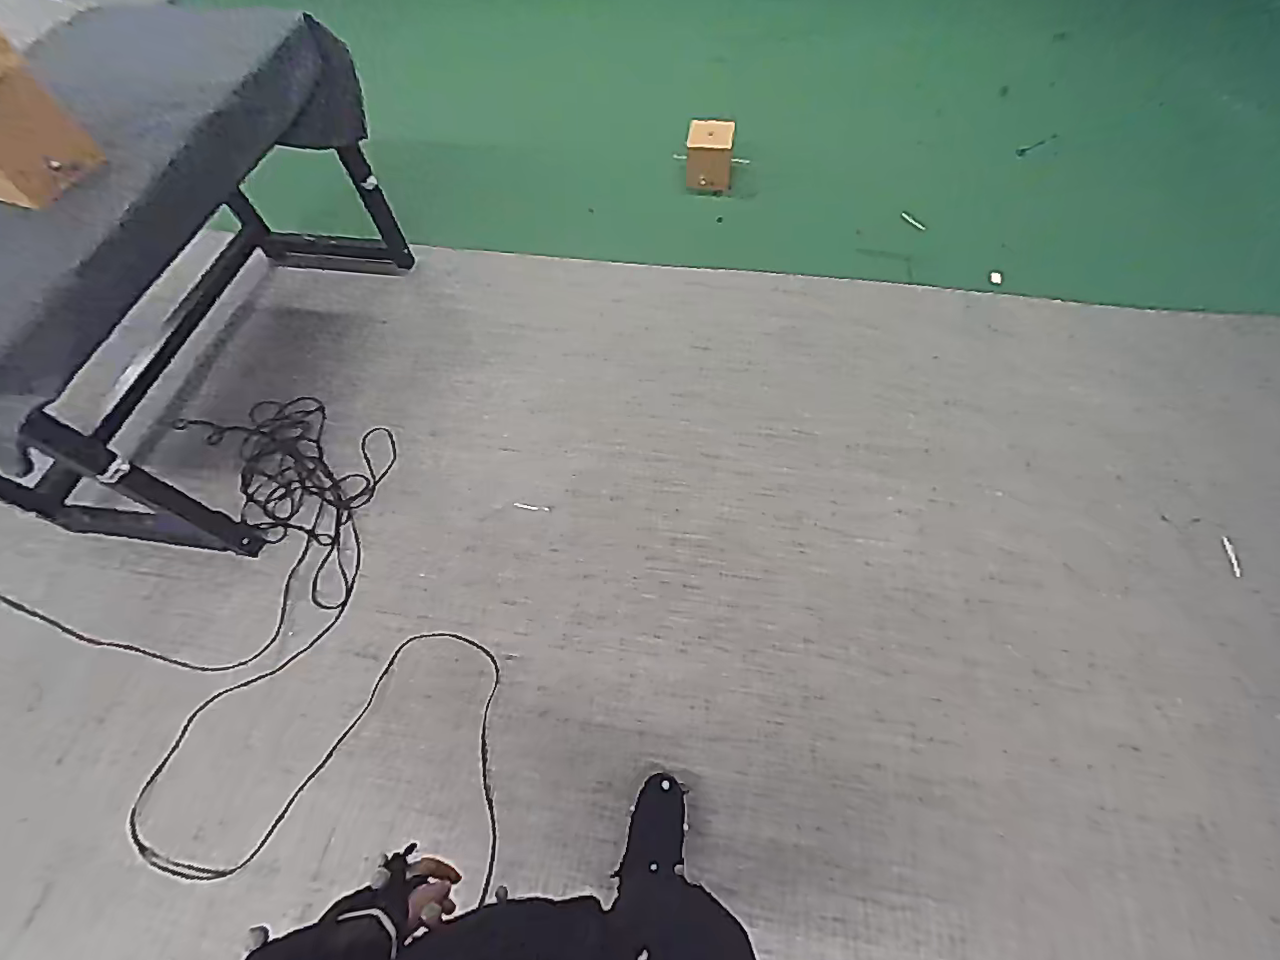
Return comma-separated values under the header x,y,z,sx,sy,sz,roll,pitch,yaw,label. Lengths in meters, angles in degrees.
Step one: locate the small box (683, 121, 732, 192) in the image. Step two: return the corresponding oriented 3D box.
x,y,z,sx,sy,sz,roll,pitch,yaw,label
0.257,-1.248,2.085,0.168,0.176,0.179,6,62,7,small box
